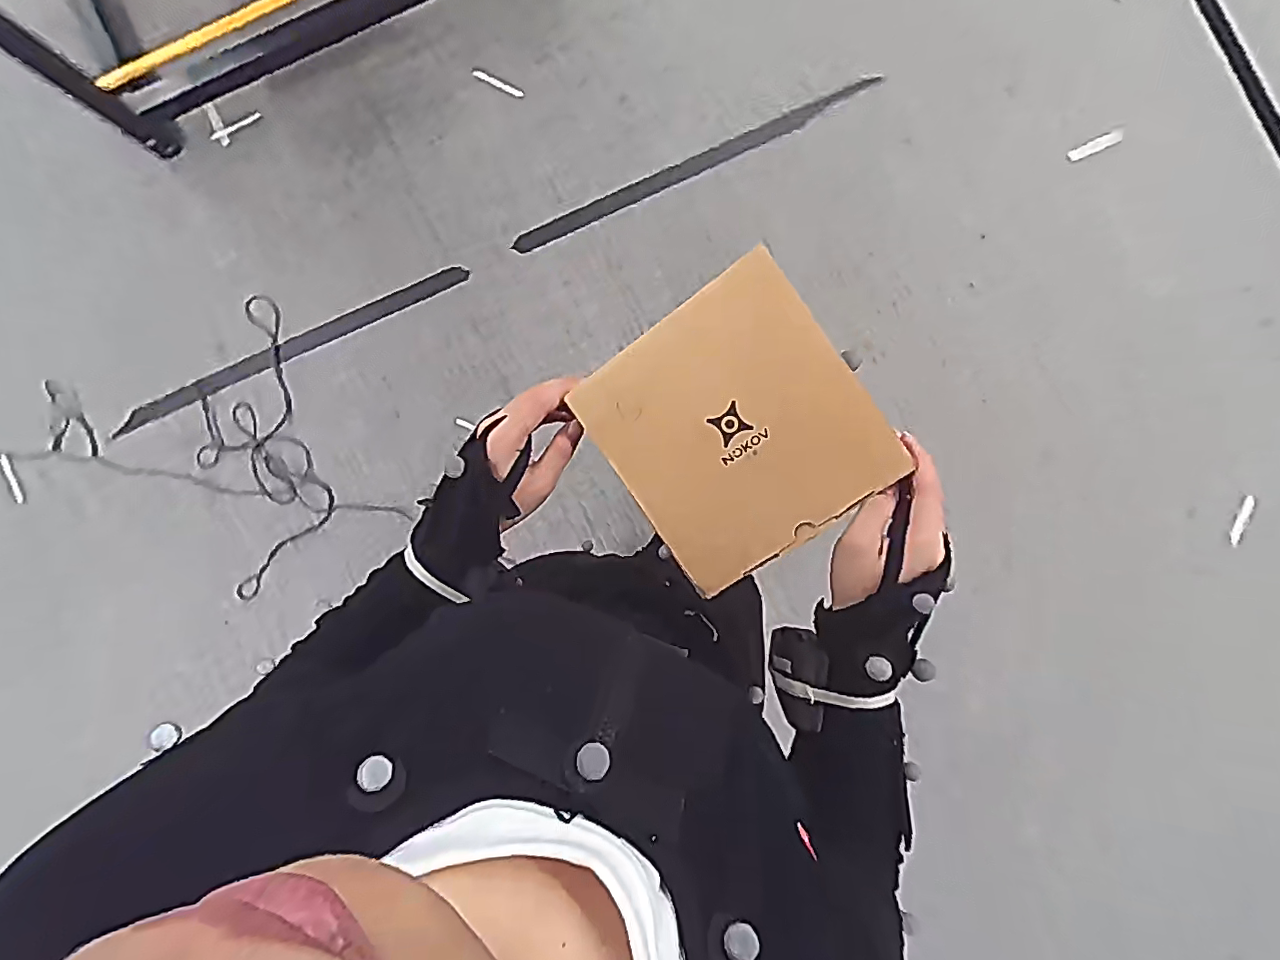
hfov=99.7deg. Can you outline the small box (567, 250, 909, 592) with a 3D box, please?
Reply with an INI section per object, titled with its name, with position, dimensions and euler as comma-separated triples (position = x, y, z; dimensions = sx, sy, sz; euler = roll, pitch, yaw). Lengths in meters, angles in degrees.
[small box]
position = 0.072, -0.044, 0.440
dimensions = 0.168, 0.176, 0.179
euler = -36, 92, 11
